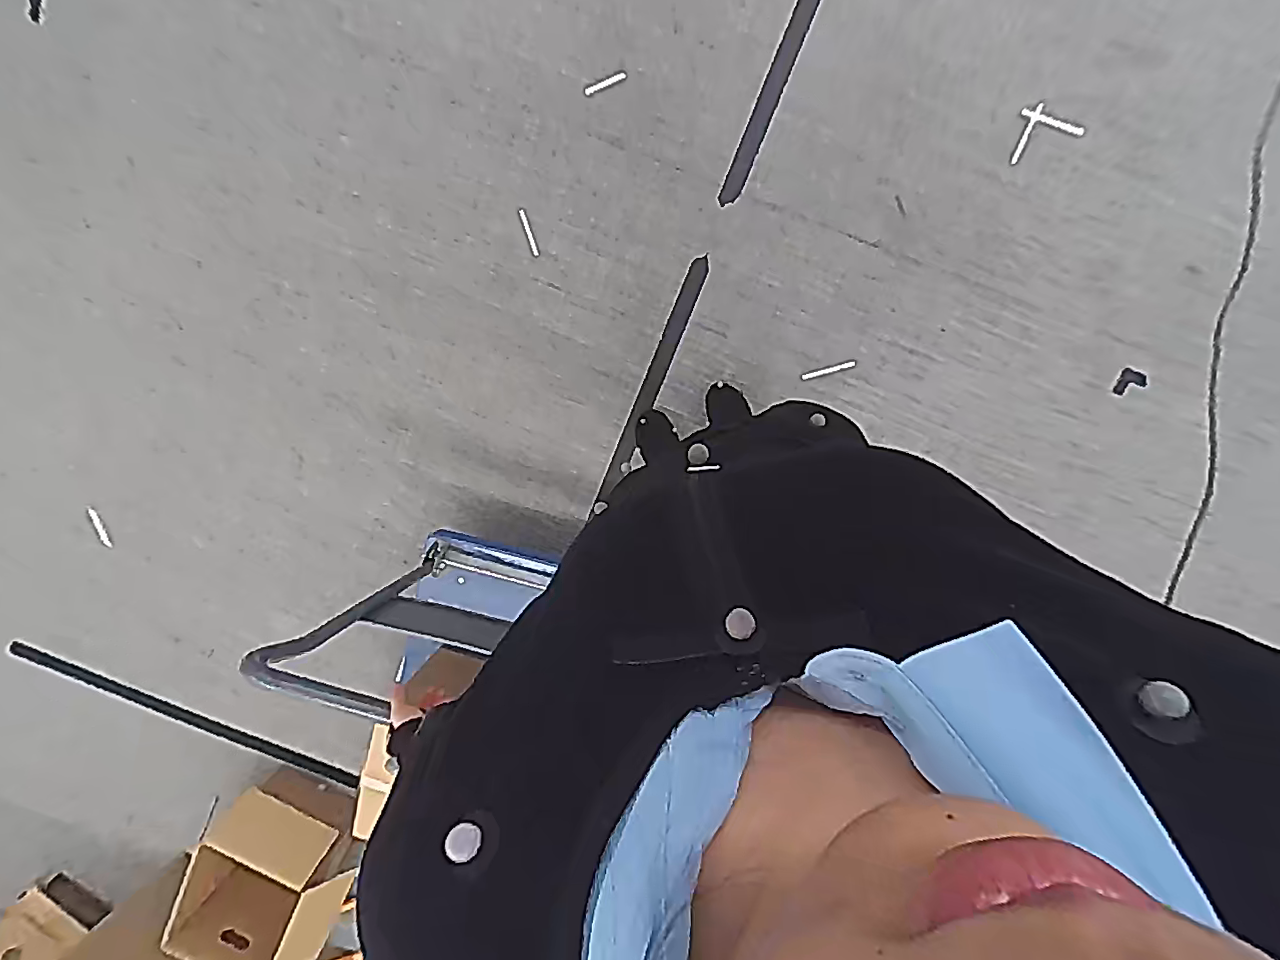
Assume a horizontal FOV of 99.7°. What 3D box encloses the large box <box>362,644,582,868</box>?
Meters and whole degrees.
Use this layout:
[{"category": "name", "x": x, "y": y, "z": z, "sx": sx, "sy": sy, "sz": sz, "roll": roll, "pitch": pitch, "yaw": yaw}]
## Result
[{"category": "large box", "x": -0.390, "y": 0.650, "z": 1.327, "sx": 0.408, "sy": 0.320, "sz": 0.320, "roll": 16, "pitch": 101, "yaw": 0}]
